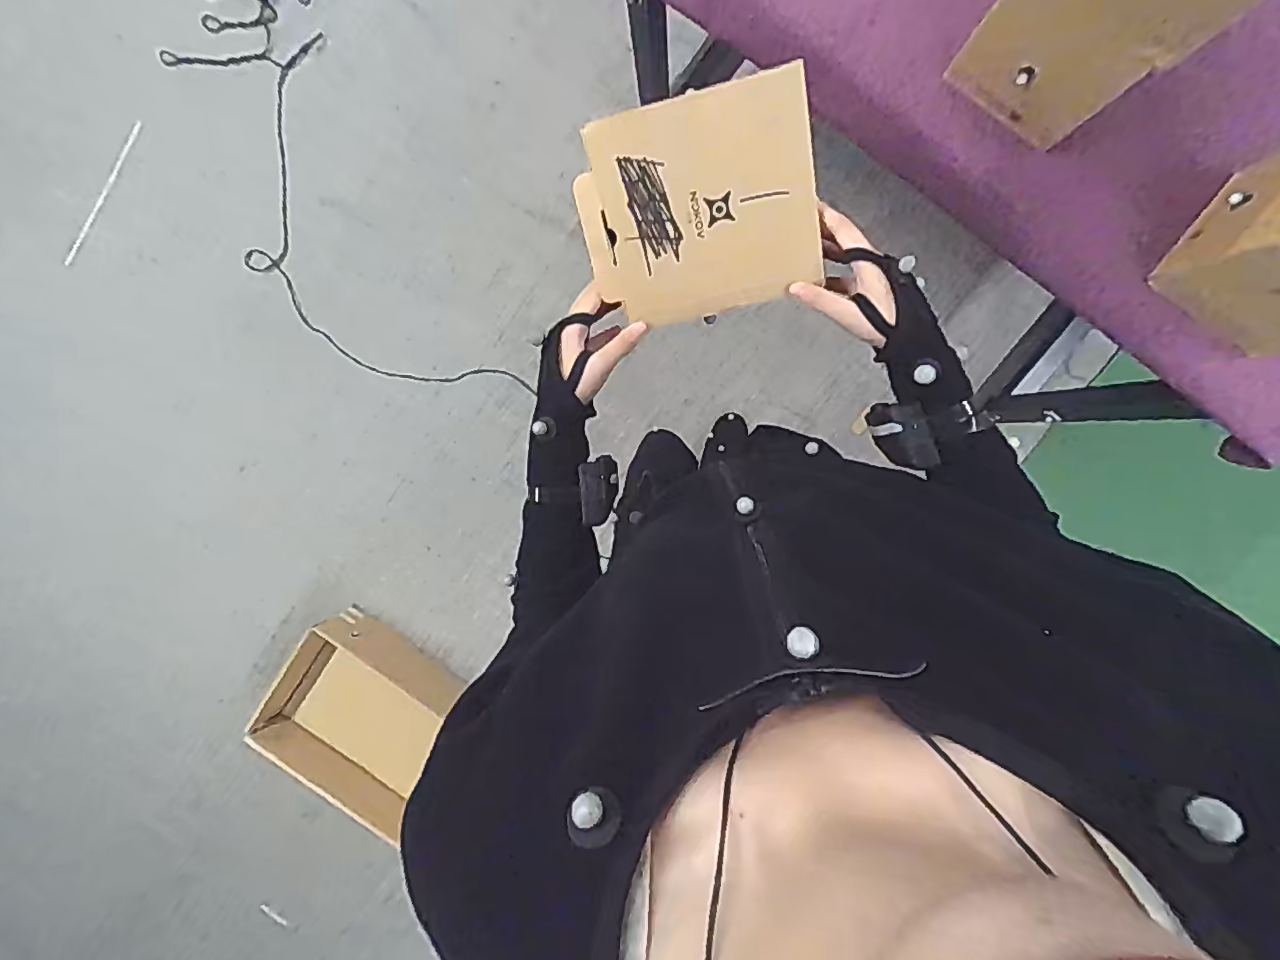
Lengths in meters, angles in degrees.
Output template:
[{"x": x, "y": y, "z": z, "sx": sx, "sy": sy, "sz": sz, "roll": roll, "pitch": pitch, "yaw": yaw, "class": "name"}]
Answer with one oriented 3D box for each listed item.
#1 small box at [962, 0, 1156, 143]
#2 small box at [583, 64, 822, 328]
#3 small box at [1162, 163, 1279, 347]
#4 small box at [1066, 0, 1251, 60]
[{"x": 0.504, "y": -0.532, "z": 0.607, "sx": 0.168, "sy": 0.176, "sz": 0.179, "roll": 38, "pitch": 97, "yaw": 1, "class": "small box"}, {"x": 0.060, "y": -0.257, "z": 0.523, "sx": 0.179, "sy": 0.176, "sz": 0.168, "roll": -12, "pitch": 113, "yaw": 8, "class": "small box"}, {"x": 0.775, "y": -0.265, "z": 0.606, "sx": 0.179, "sy": 0.176, "sz": 0.168, "roll": 37, "pitch": 99, "yaw": 3, "class": "small box"}, {"x": 0.489, "y": -0.509, "z": 0.446, "sx": 0.179, "sy": 0.176, "sz": 0.168, "roll": 38, "pitch": 98, "yaw": 1, "class": "small box"}]
